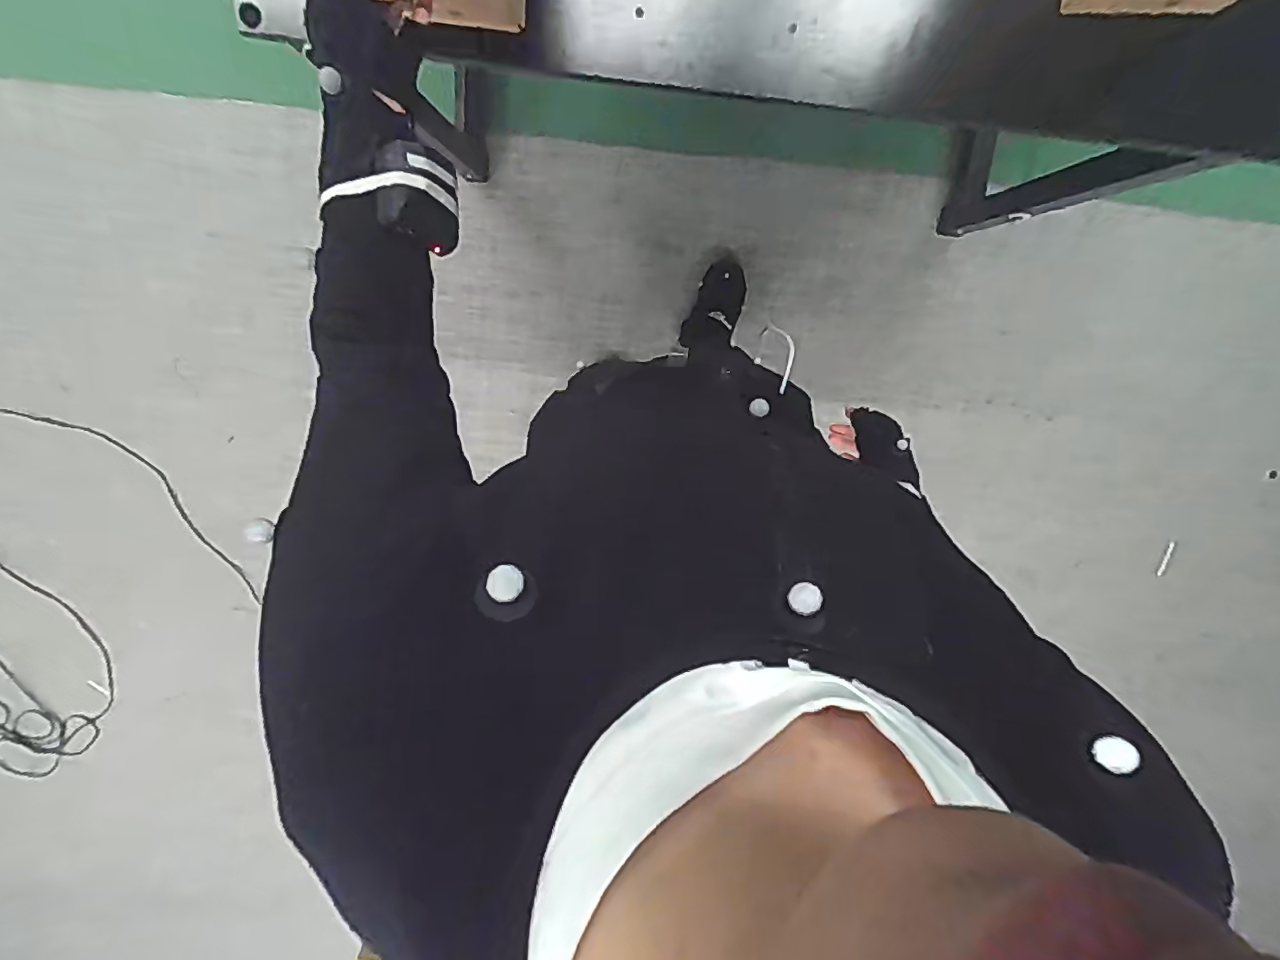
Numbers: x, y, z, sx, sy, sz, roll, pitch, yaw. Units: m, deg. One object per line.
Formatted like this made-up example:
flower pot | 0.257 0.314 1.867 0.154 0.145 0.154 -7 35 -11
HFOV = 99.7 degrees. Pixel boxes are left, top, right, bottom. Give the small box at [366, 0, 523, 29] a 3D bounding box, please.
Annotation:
small box | -0.190 -0.515 0.439 0.168 0.176 0.179 5 112 -2
